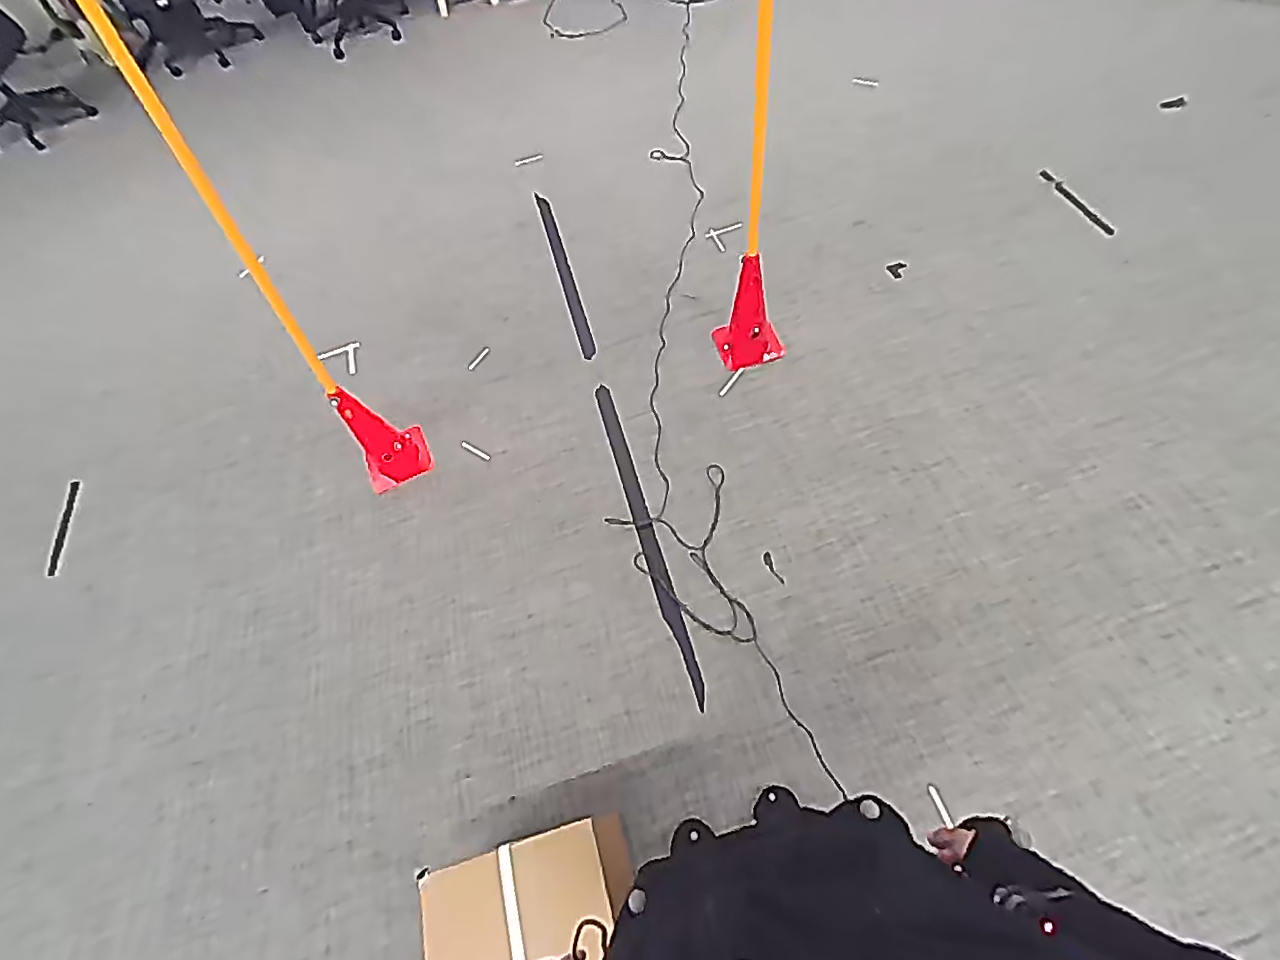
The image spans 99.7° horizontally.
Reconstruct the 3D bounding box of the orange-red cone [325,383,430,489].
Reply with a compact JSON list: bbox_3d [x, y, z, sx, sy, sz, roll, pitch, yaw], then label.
[{"bbox_3d":[-0.807,-0.159,1.600,0.199,0.360,0.198,-26,60,-5],"label":"orange-red cone"}]
